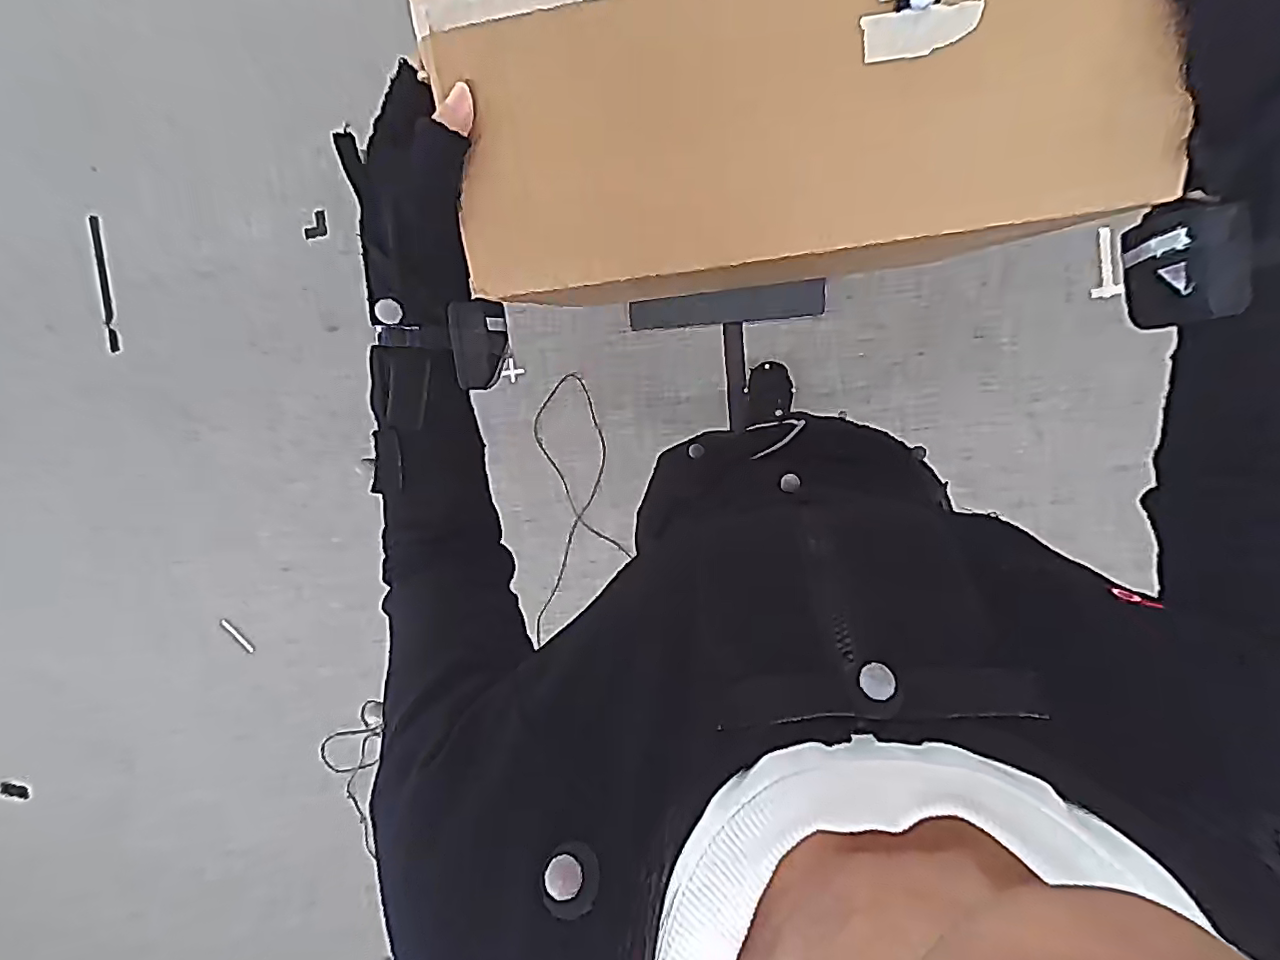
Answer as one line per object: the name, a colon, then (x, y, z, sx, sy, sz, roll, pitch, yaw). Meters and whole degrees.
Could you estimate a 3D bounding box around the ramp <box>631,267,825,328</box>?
ramp: (0.181, -0.888, 1.254, 0.509, 0.206, 0.991, -4, 96, 8)

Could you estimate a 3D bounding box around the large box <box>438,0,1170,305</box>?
large box: (0.089, -0.335, 0.438, 0.408, 0.320, 0.320, -6, 106, 8)
